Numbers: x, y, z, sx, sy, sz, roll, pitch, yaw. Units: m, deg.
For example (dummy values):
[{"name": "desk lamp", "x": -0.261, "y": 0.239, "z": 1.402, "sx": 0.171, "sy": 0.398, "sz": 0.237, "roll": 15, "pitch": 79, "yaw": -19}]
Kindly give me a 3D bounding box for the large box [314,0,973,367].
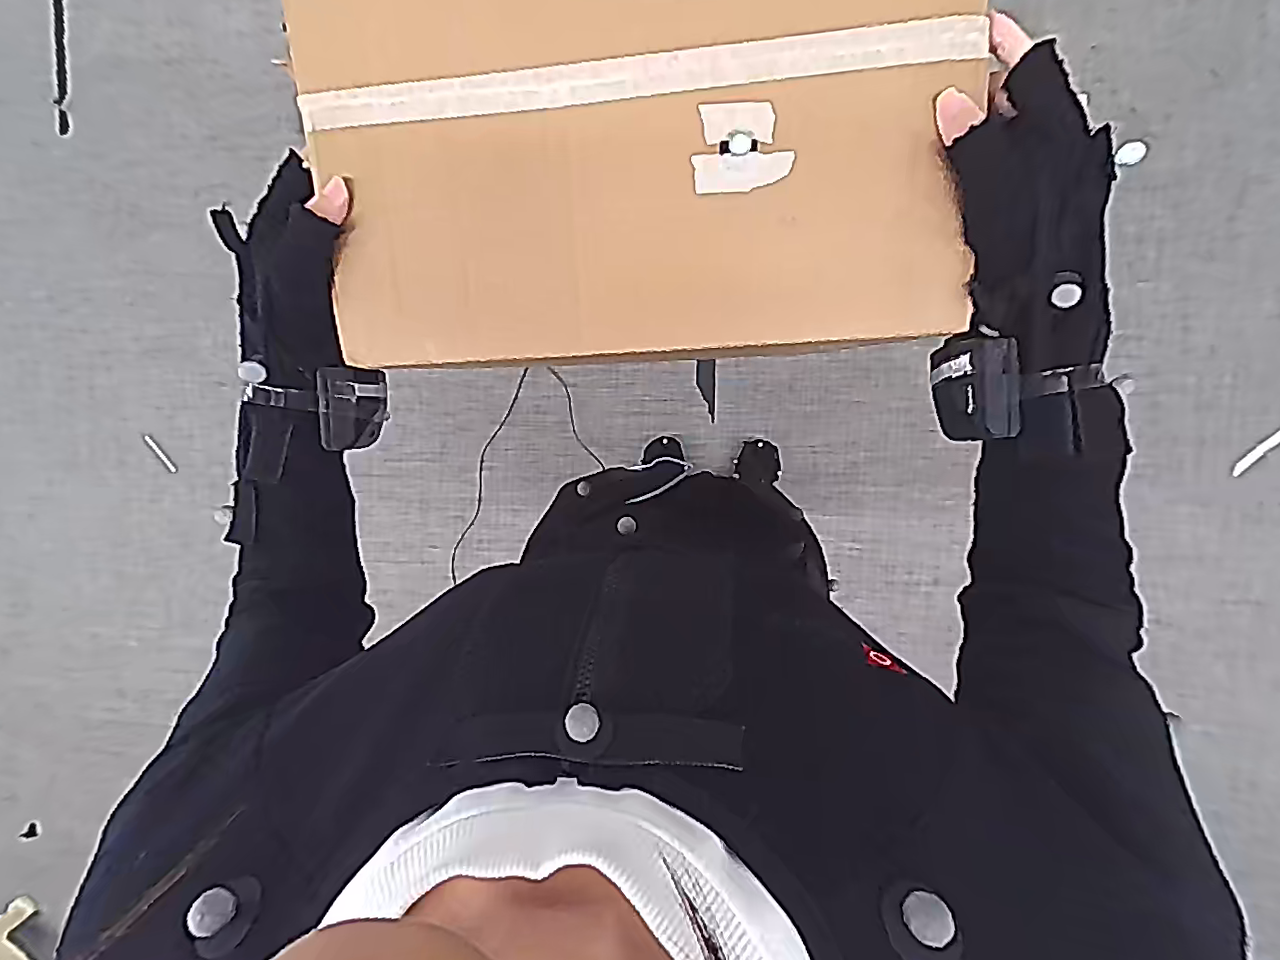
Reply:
[{"name": "large box", "x": 0.007, "y": -0.273, "z": 0.480, "sx": 0.408, "sy": 0.320, "sz": 0.320, "roll": -3, "pitch": 102, "yaw": 5}]
